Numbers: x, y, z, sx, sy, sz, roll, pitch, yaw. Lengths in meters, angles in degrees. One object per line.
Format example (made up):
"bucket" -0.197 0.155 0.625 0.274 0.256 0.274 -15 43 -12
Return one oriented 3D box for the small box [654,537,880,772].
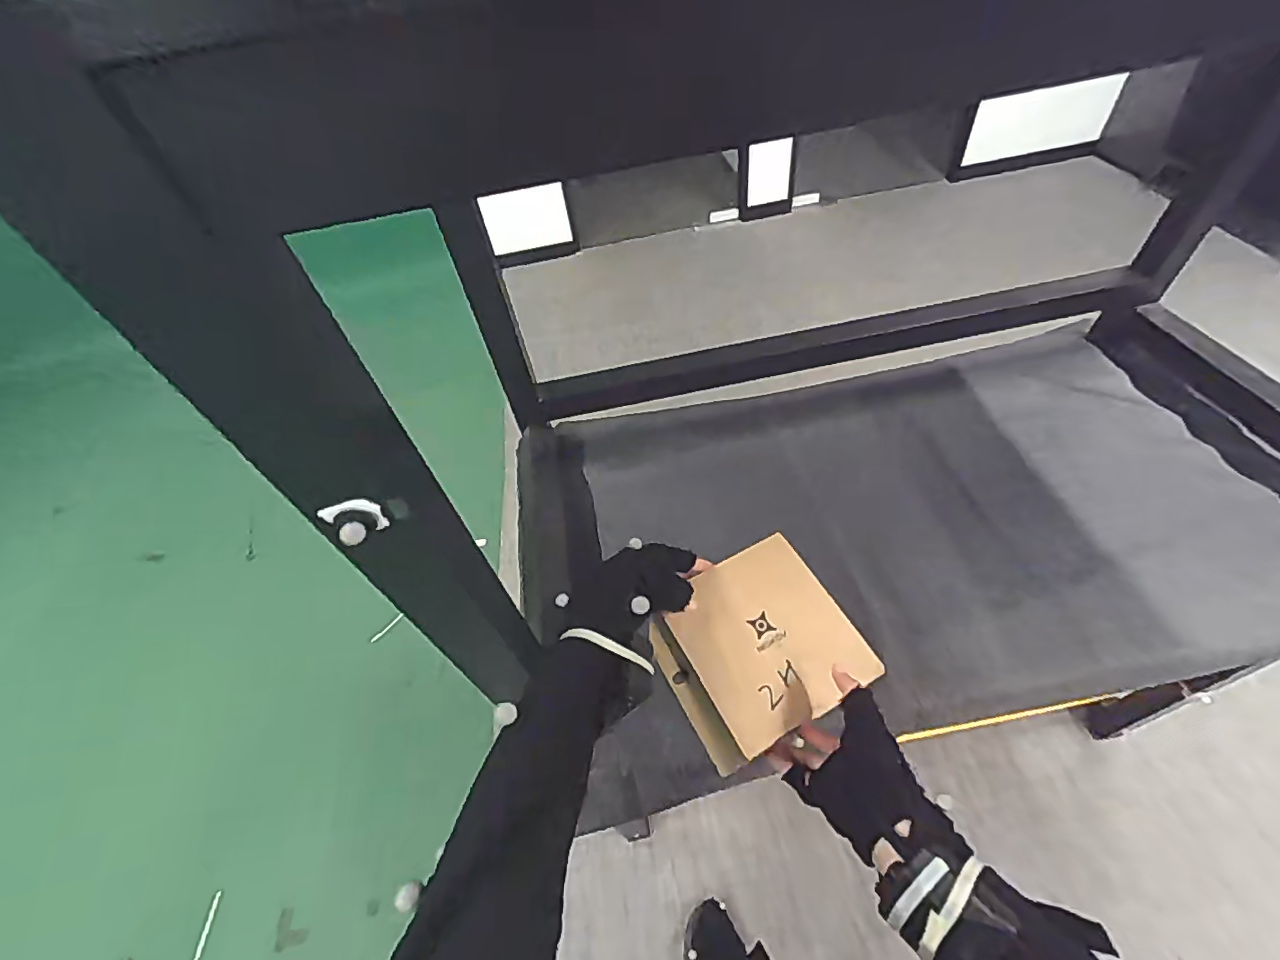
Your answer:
"small box" 0.123 0.201 0.612 0.168 0.176 0.179 -24 61 -15
